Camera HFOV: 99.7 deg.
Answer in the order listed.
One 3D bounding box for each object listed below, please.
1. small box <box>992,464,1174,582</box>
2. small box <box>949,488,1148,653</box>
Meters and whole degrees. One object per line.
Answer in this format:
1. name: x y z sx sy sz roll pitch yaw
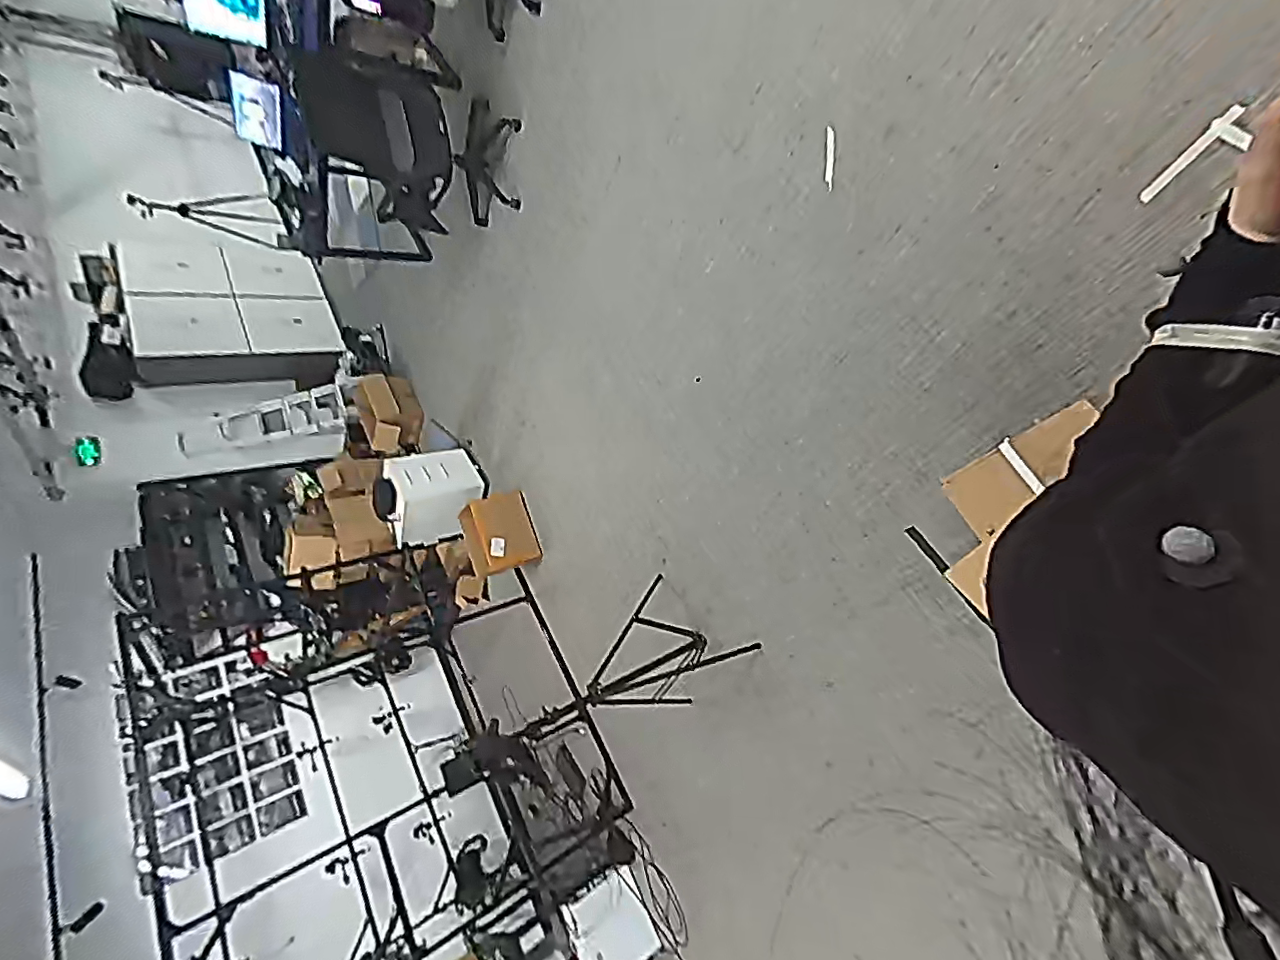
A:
1. small box: 0.771 0.092 0.942 0.168 0.176 0.179 -44 65 47
2. small box: 0.643 0.134 0.850 0.168 0.176 0.179 53 137 28
